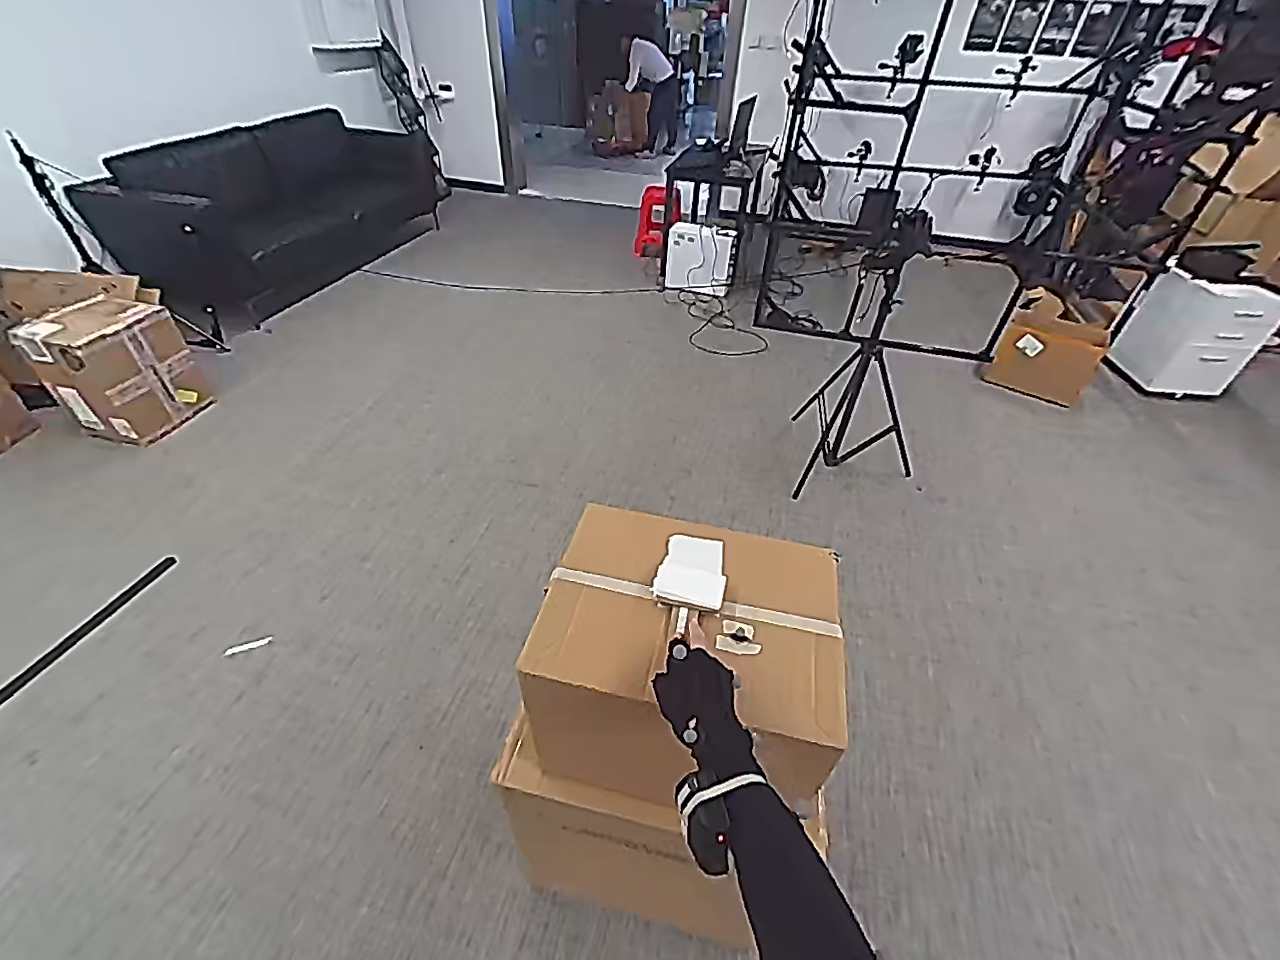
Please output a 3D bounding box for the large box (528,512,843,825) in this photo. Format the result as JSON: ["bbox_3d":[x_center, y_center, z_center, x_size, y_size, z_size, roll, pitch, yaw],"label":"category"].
[{"bbox_3d":[0.069,0.294,0.871,0.408,0.320,0.320,10,41,8],"label":"large box"}]
